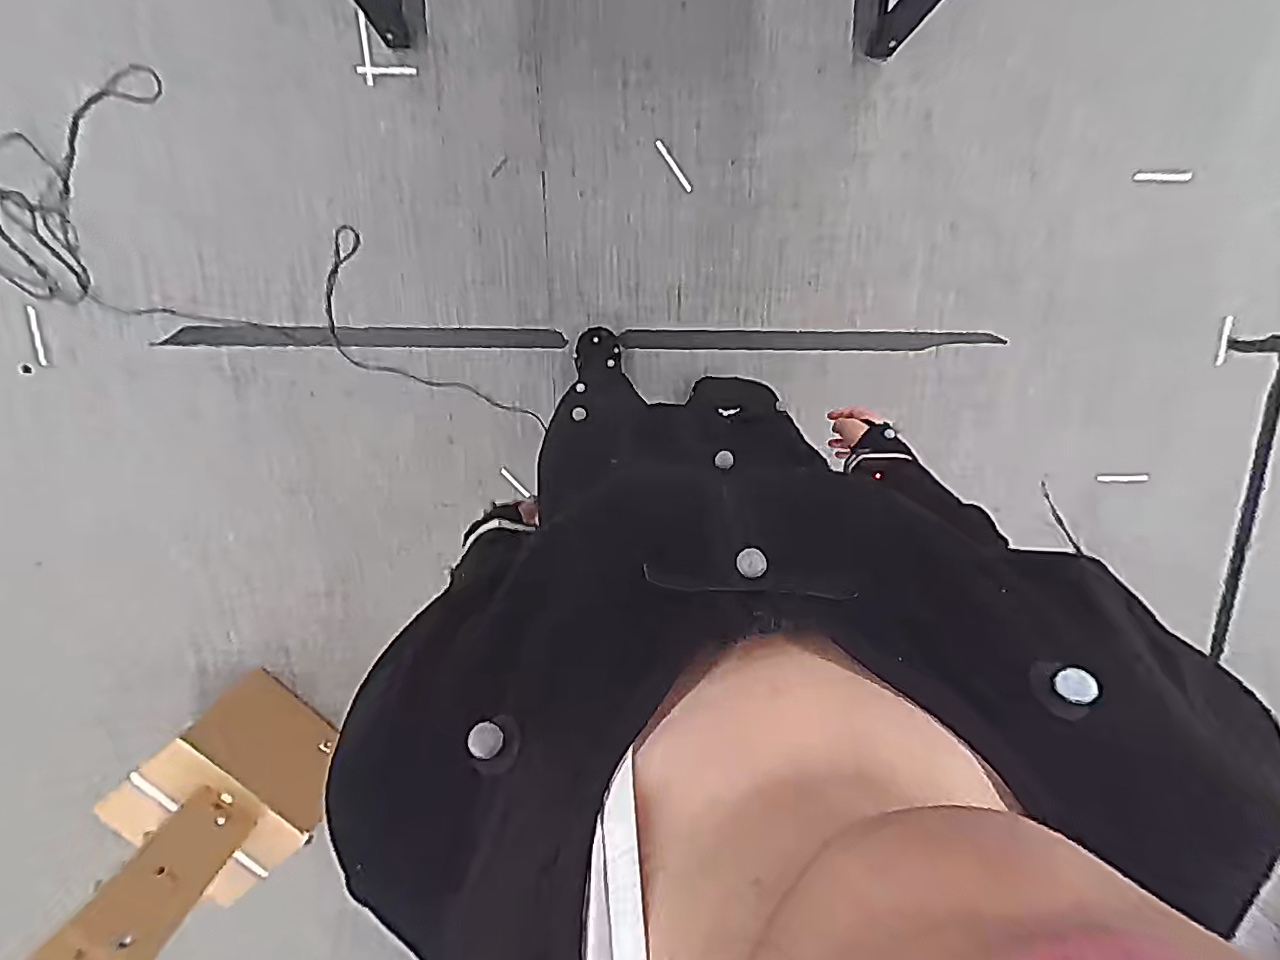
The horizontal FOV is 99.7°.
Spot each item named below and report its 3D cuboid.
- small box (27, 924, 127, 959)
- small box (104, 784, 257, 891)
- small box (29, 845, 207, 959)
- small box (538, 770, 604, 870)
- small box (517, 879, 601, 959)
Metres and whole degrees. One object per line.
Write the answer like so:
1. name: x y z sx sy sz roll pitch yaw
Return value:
1. small box: -1.030 0.923 0.924 0.179 0.176 0.168 -42 101 7
2. small box: -1.041 0.855 1.244 0.179 0.176 0.168 -42 101 6
3. small box: -1.036 0.892 1.084 0.179 0.176 0.168 -41 101 7
4. small box: -0.202 1.018 1.626 0.168 0.176 0.179 -11 102 -2
5. small box: -0.190 1.110 1.312 0.168 0.176 0.179 -11 104 -1
